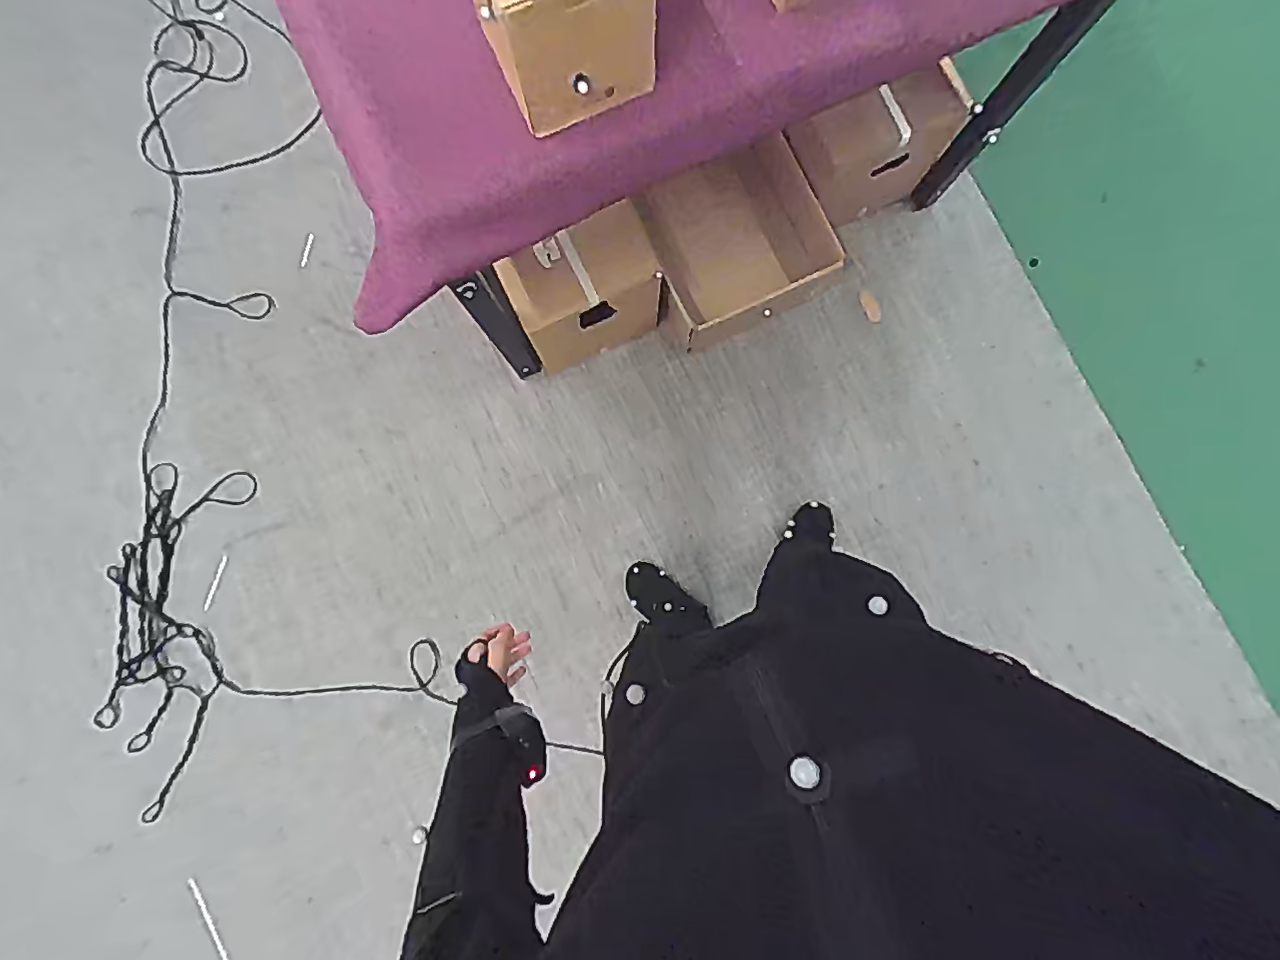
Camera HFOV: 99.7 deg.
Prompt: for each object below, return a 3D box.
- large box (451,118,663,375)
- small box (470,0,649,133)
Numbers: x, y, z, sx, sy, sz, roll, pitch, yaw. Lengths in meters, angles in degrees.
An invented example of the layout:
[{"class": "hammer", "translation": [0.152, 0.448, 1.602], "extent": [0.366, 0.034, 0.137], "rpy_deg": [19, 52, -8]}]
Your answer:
[{"class": "large box", "translation": [-0.177, -0.520, 1.270], "extent": [0.320, 0.320, 0.408], "rpy_deg": [-26, 86, -2]}, {"class": "small box", "translation": [-0.099, -0.546, 0.607], "extent": [0.168, 0.176, 0.179], "rpy_deg": [-25, 85, -2]}]
